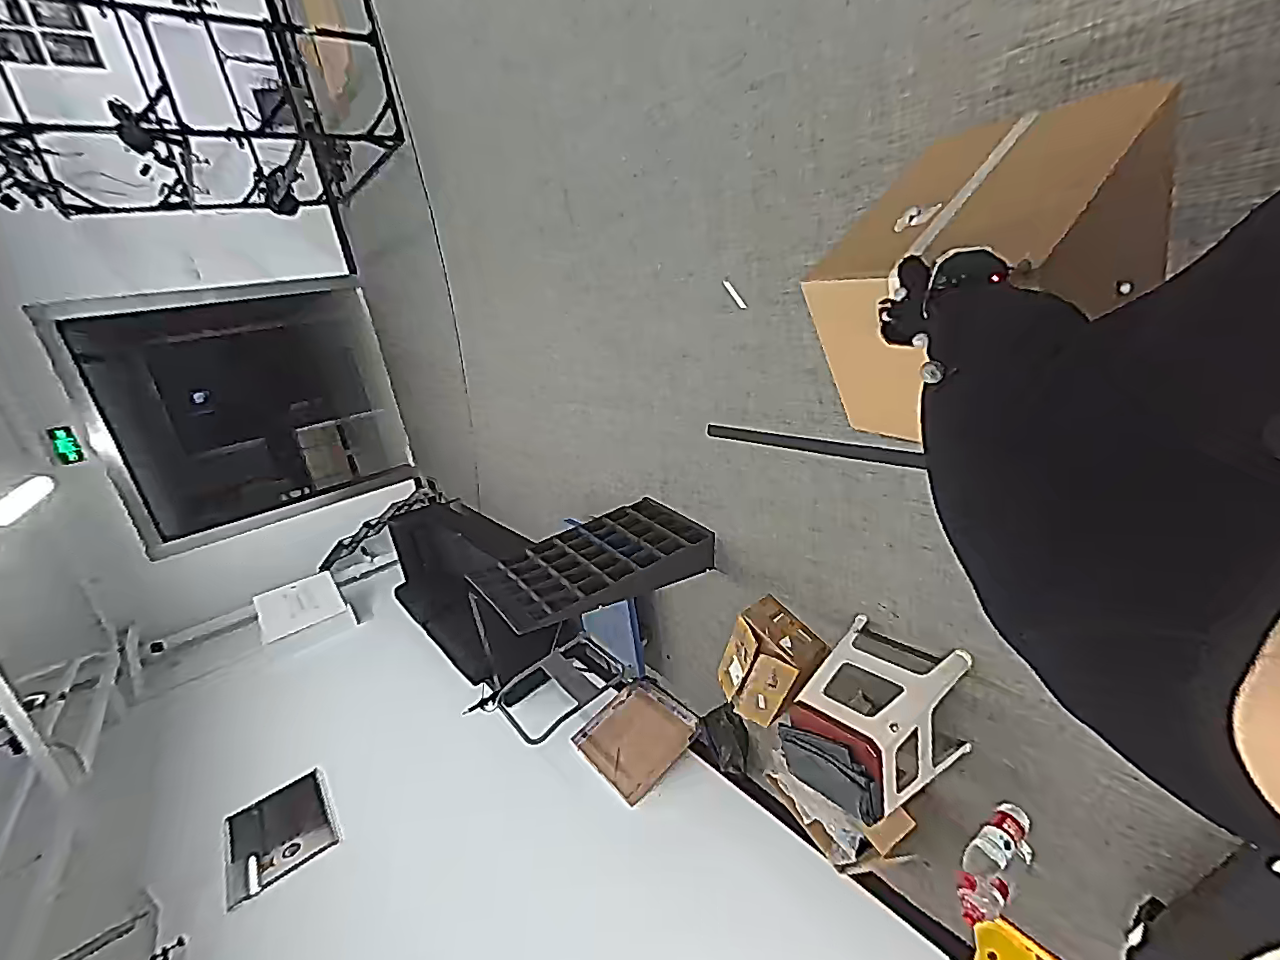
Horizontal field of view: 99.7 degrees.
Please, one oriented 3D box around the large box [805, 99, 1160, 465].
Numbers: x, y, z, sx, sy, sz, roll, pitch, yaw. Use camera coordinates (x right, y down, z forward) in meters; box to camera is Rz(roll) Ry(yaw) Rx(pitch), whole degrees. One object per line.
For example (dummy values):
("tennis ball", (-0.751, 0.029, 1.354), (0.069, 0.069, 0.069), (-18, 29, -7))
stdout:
("large box", (0.535, -0.290, 0.843), (0.320, 0.408, 0.320), (20, 153, 52))
